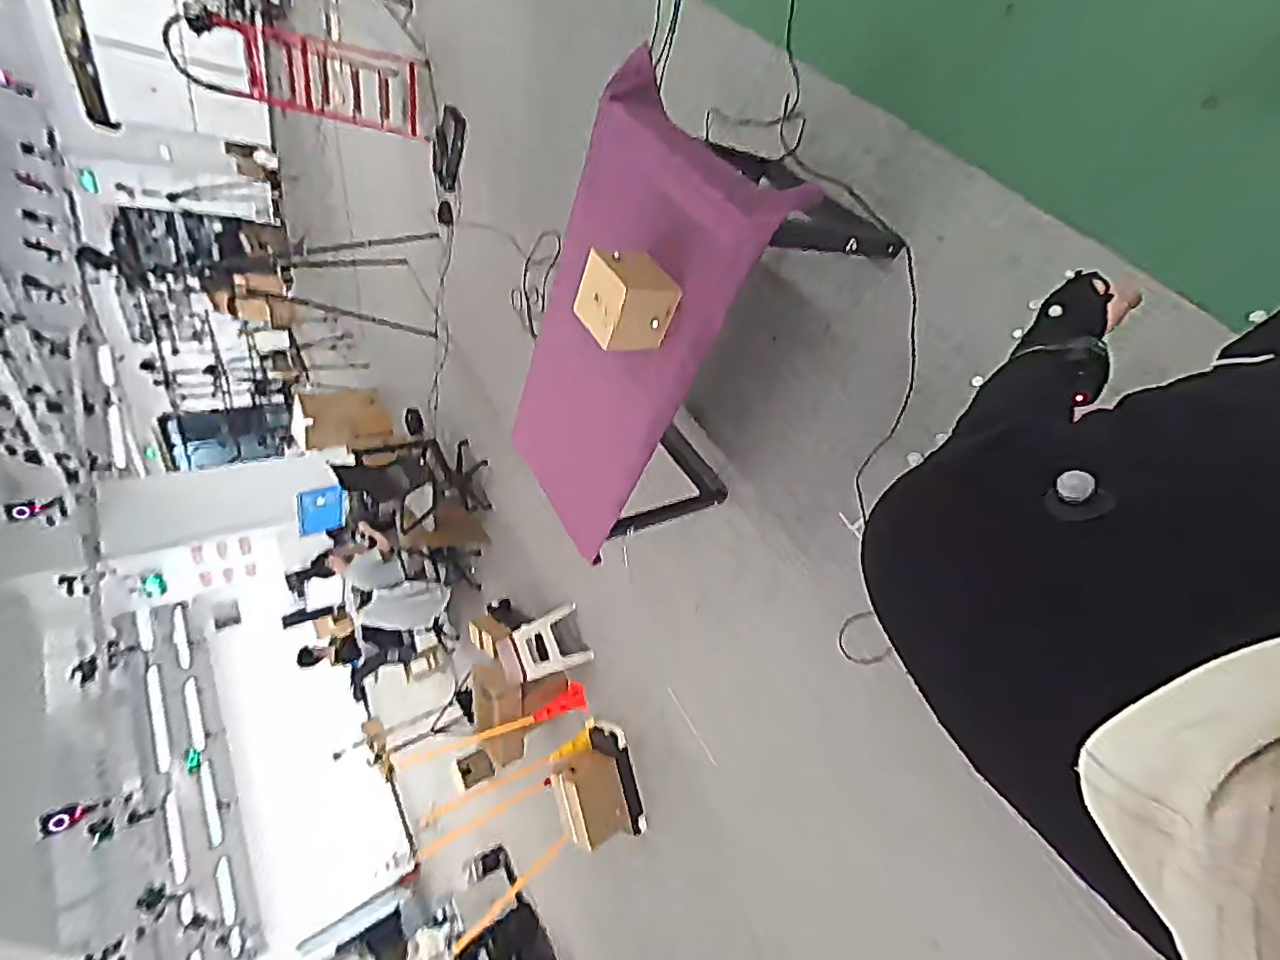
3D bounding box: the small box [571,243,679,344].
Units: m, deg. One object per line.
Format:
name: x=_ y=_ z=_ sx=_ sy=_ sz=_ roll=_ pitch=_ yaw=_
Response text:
small box: x=-0.038 y=-0.451 z=1.321 sx=0.179 sy=0.176 sz=0.168 roll=55 pitch=139 yaw=27
